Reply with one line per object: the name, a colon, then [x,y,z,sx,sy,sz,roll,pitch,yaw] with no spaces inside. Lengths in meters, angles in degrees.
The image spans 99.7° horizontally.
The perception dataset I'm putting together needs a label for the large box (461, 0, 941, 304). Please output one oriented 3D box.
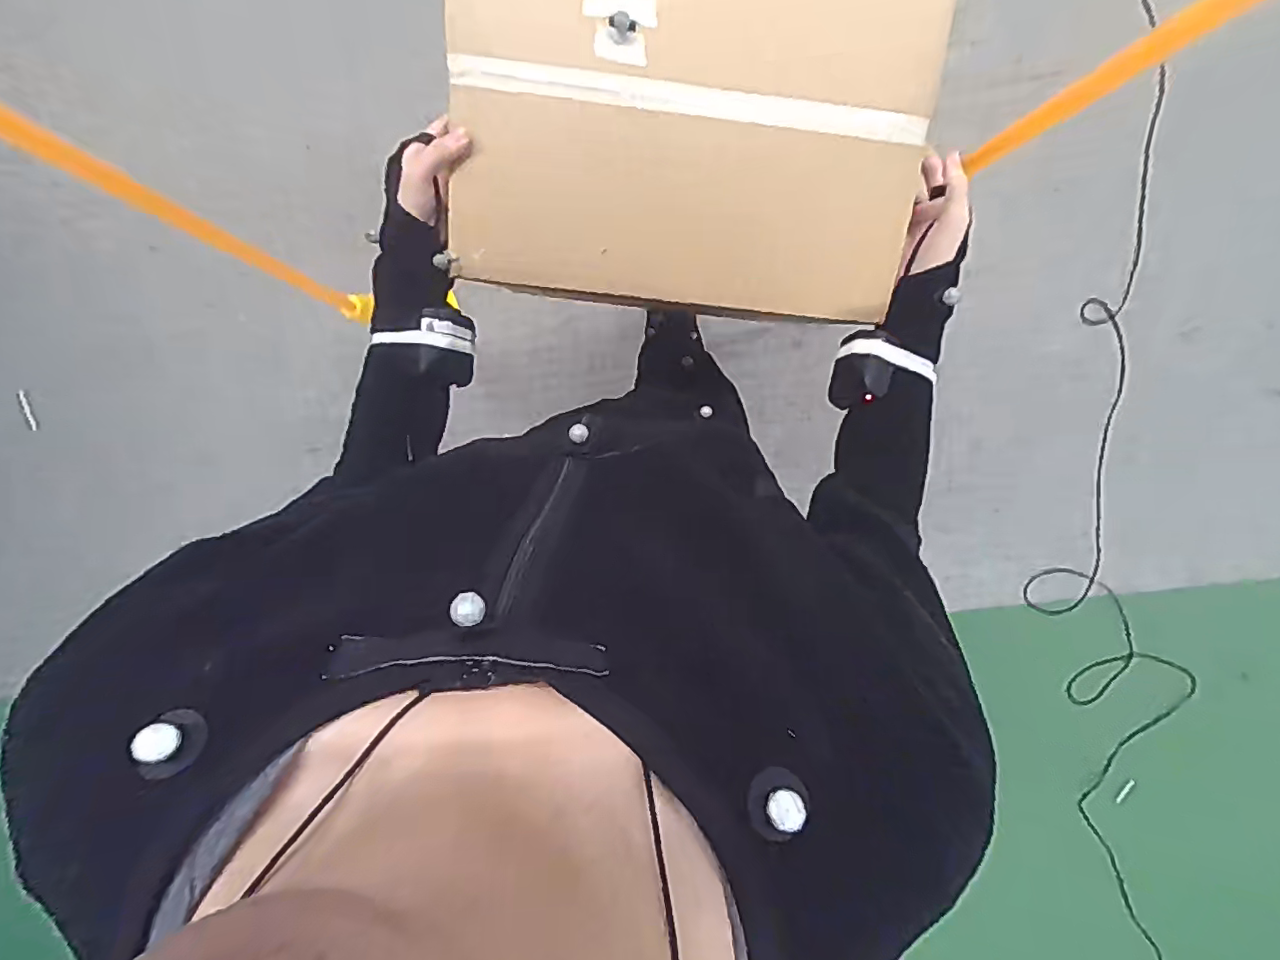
large box: [0.043,-0.374,0.608,0.408,0.320,0.320,5,106,-3]
